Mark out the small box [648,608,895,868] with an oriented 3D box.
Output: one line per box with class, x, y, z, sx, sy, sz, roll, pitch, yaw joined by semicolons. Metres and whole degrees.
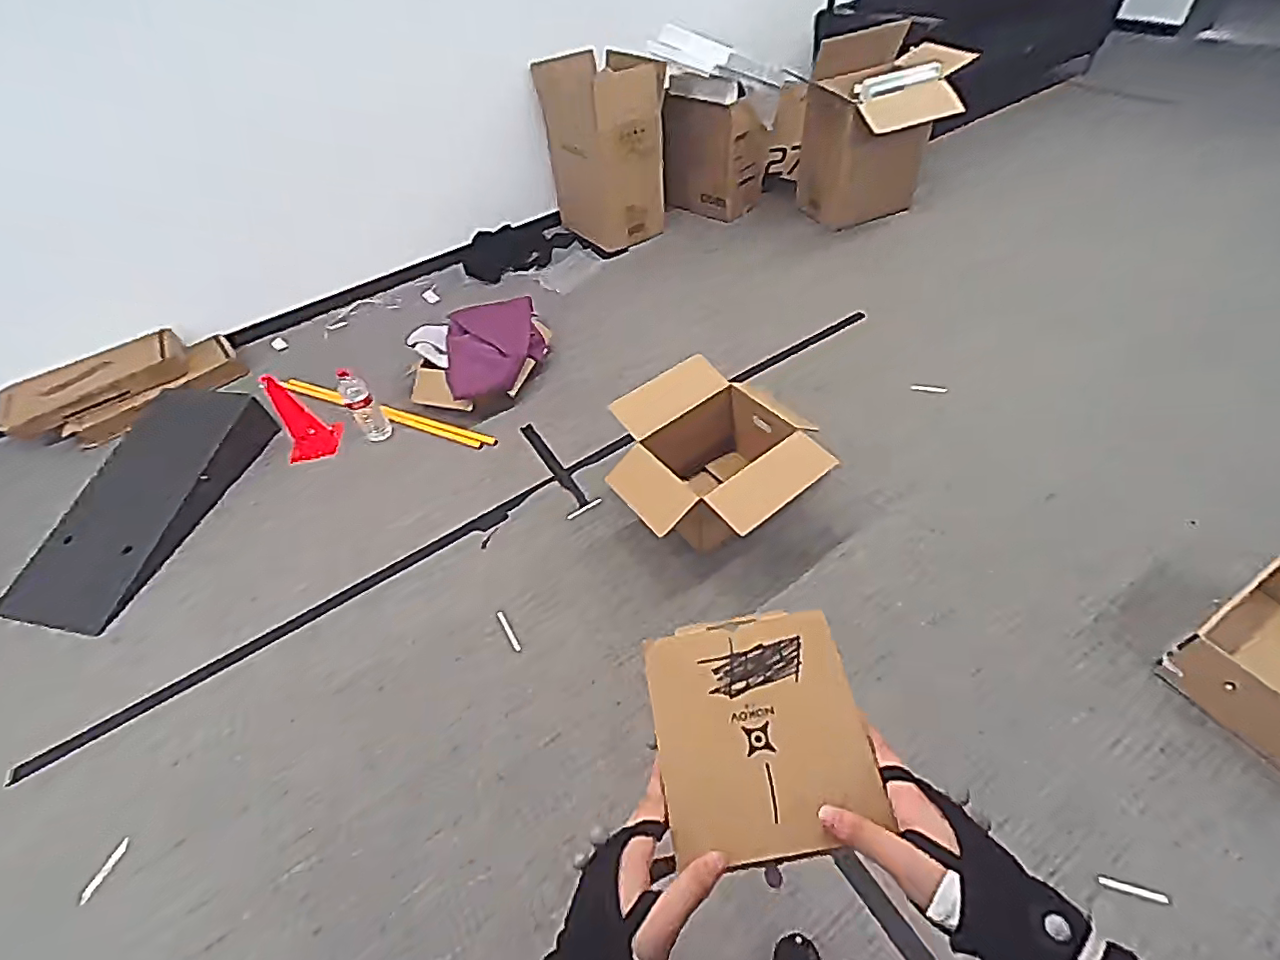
small box;0.106;0.246;0.508;0.168;0.176;0.179;-11;53;2
